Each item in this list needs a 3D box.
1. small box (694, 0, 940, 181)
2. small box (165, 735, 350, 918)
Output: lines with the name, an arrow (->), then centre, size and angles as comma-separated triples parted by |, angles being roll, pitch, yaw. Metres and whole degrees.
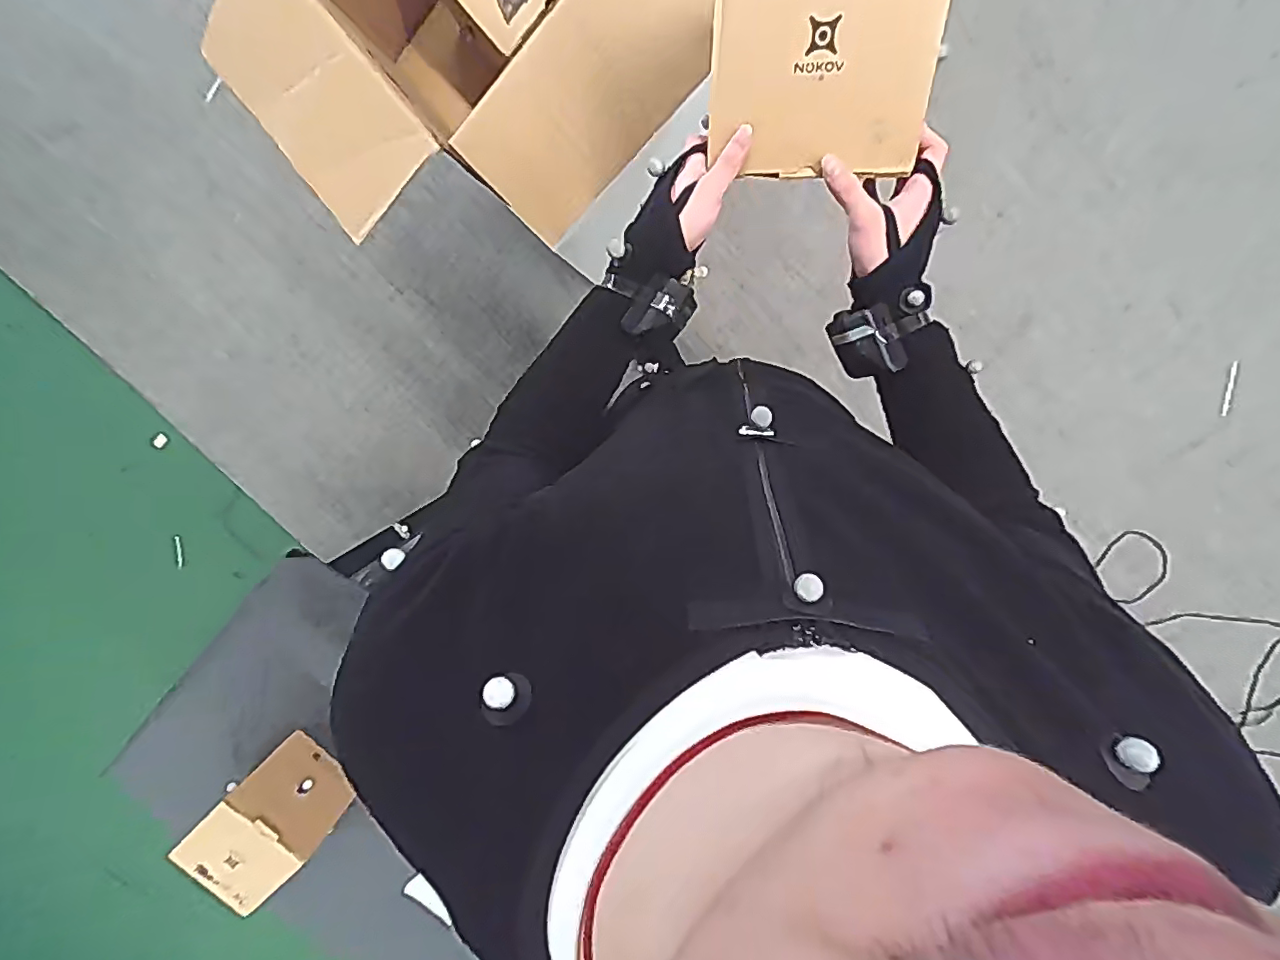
small box -> 0.141, -0.356, 0.456 | 0.168, 0.176, 0.179 | 5, 120, 11
small box -> -0.647, 0.591, 0.944 | 0.179, 0.176, 0.168 | -43, 96, 11
